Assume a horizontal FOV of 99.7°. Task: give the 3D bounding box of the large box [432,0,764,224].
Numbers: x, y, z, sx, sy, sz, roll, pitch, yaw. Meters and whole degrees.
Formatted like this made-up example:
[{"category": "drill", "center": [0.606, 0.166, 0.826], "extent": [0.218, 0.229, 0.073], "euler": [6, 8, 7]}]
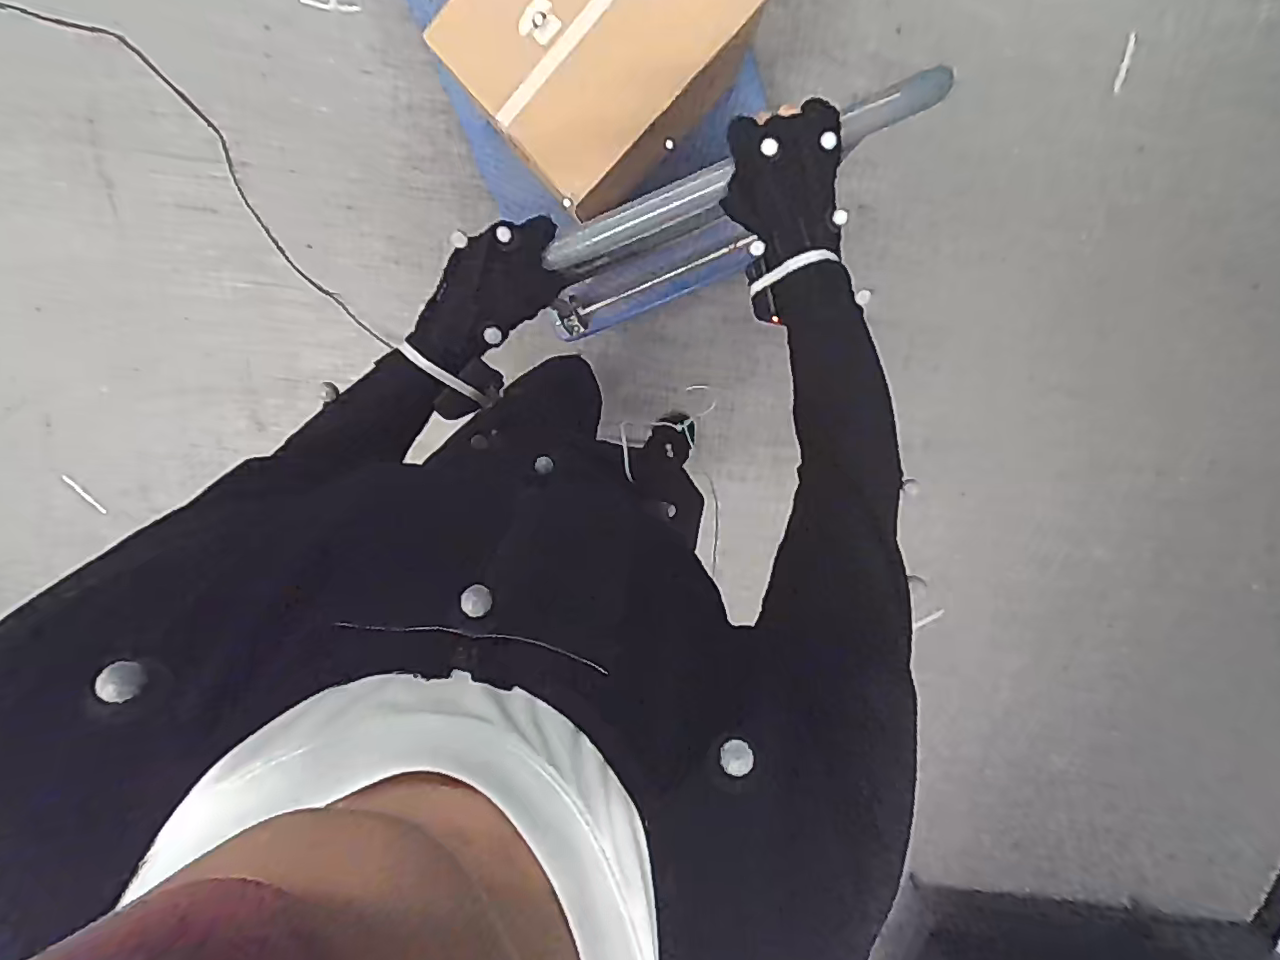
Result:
[{"category": "large box", "center": [-0.059, -0.717, 0.917], "extent": [0.408, 0.320, 0.320], "euler": [-42, 103, 12]}]
